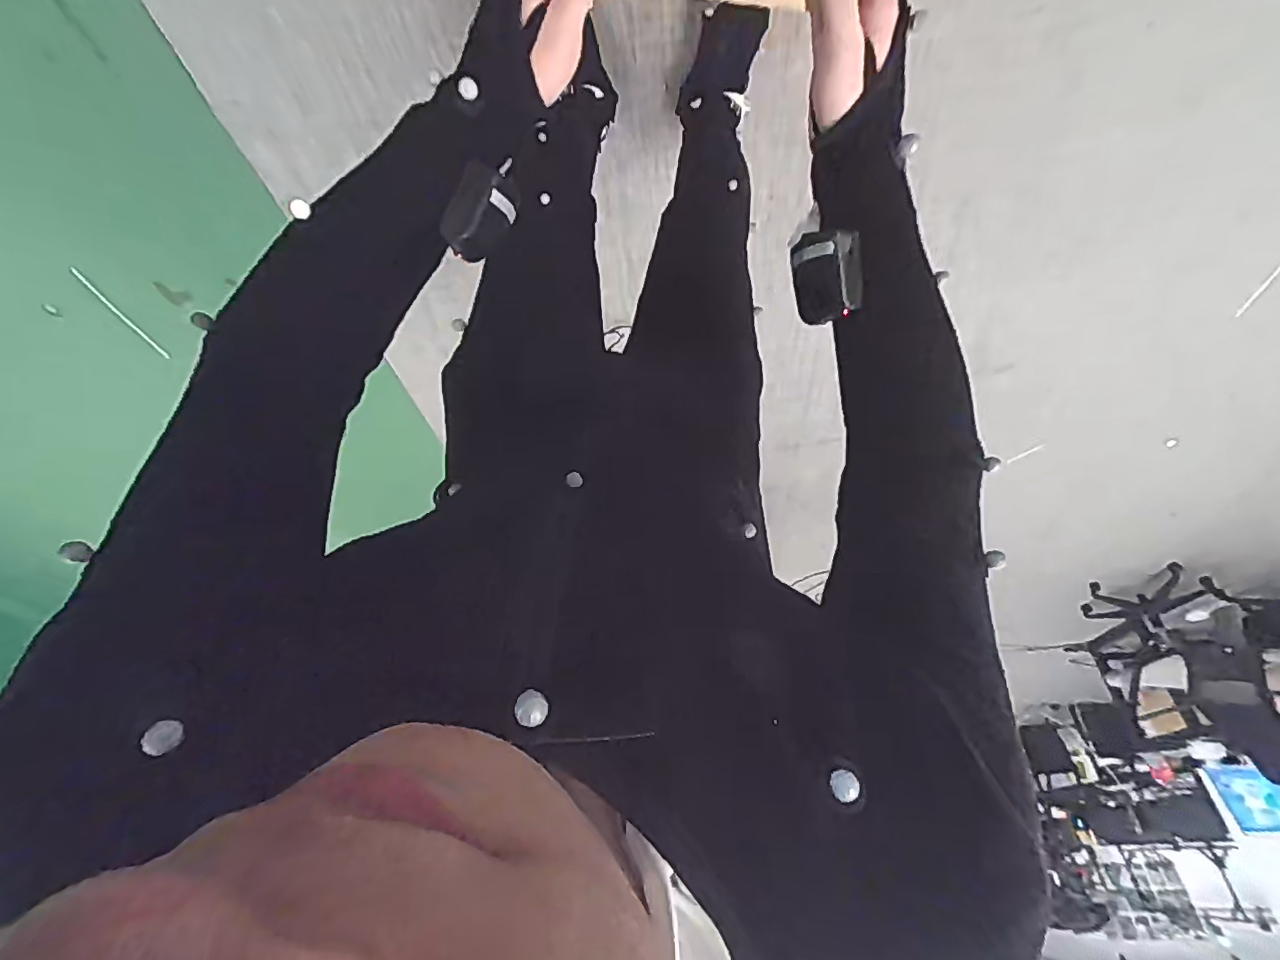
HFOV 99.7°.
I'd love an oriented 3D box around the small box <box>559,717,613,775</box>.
[{"bbox_3d":[-0.186,0.944,1.921,0.179,0.176,0.168,-1,145,1],"label":"small box"}]
